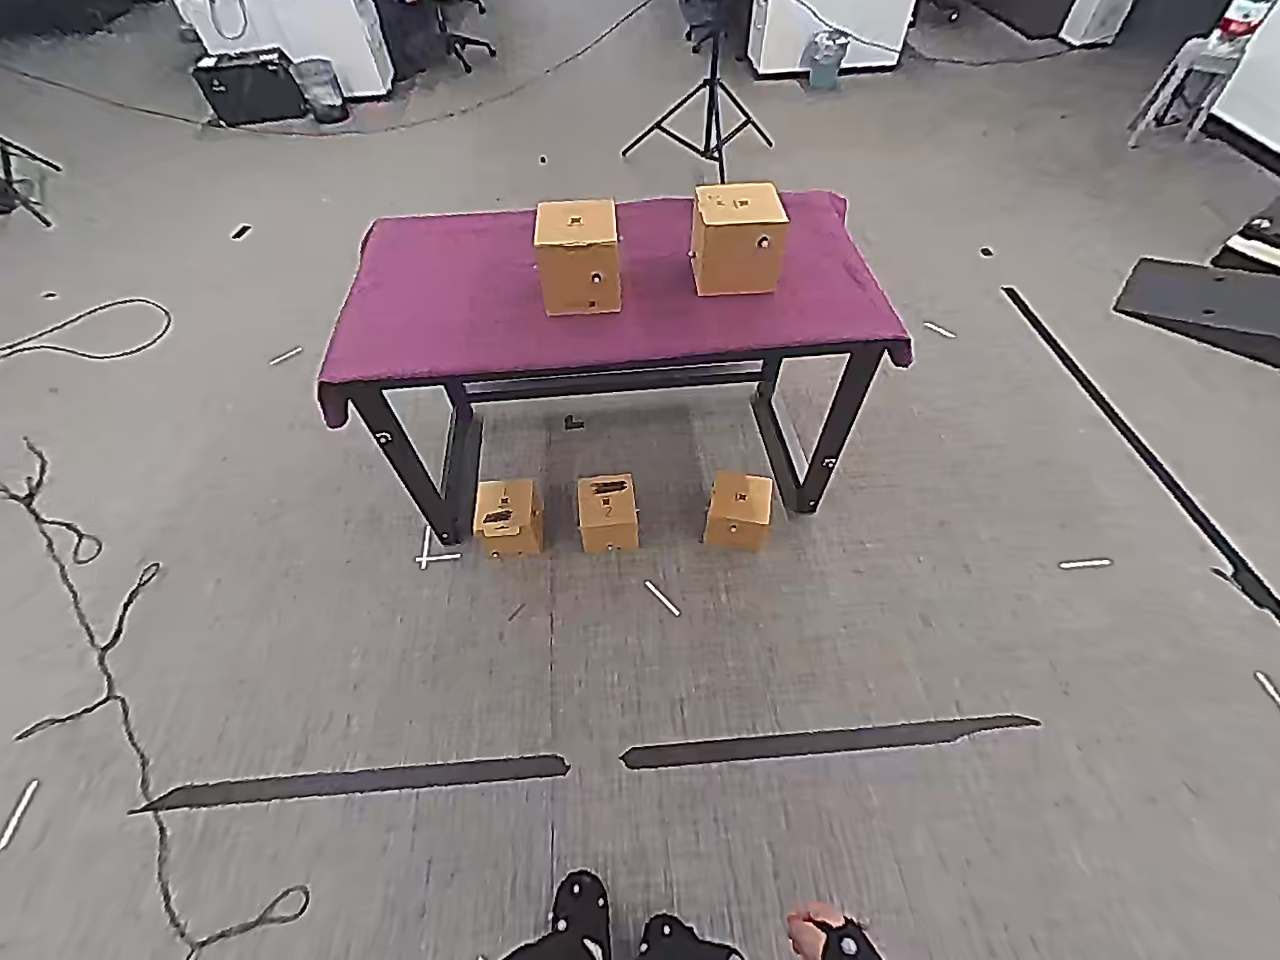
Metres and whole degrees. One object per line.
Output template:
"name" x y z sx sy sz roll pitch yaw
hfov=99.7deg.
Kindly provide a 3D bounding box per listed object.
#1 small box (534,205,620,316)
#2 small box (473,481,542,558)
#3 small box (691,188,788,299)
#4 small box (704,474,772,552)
"small box" -0.131 -0.472 1.176 0.168 0.176 0.179 -3 52 -3
"small box" -0.396 0.126 1.646 0.168 0.176 0.179 -4 53 -2
"small box" 0.212 -0.525 1.205 0.179 0.176 0.168 -4 53 -1
"small box" 0.296 0.104 1.649 0.179 0.176 0.168 8 55 9
